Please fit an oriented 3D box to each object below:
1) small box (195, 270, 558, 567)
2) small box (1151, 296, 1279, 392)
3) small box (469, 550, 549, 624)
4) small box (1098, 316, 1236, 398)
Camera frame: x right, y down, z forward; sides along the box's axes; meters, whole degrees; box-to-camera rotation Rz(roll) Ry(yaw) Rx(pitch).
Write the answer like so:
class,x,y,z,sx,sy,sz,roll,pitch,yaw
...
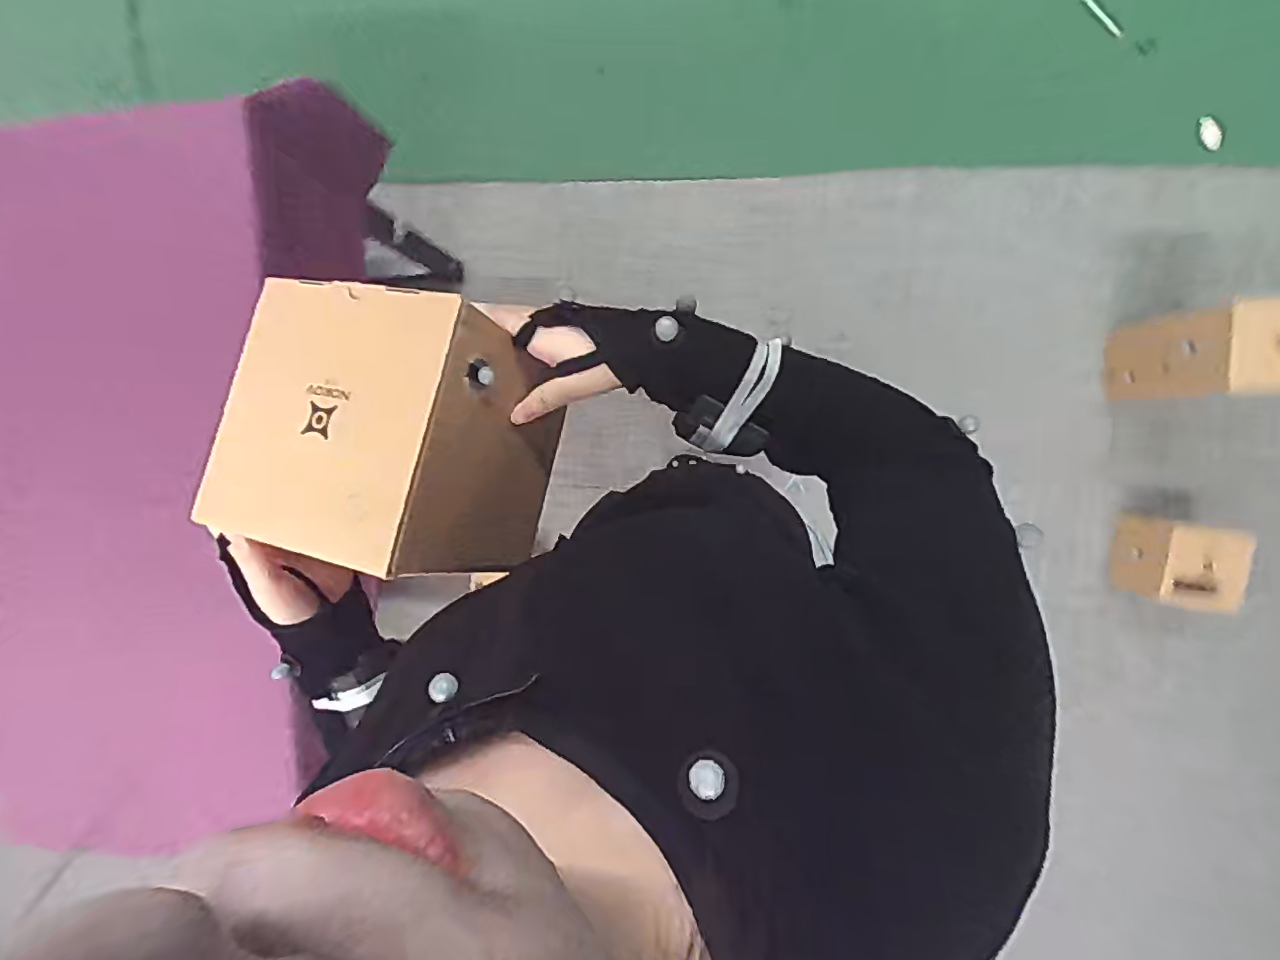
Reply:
class,x,y,z,sx,sy,sz,roll,pitch,yaw
small box,-0.185,-0.035,0.427,0.168,0.176,0.179,13,84,18
small box,1.173,-0.263,1.071,0.179,0.176,0.168,0,96,8
small box,-0.355,0.289,1.494,0.179,0.176,0.168,1,94,7
small box,1.198,-0.275,1.233,0.179,0.176,0.168,1,96,7
